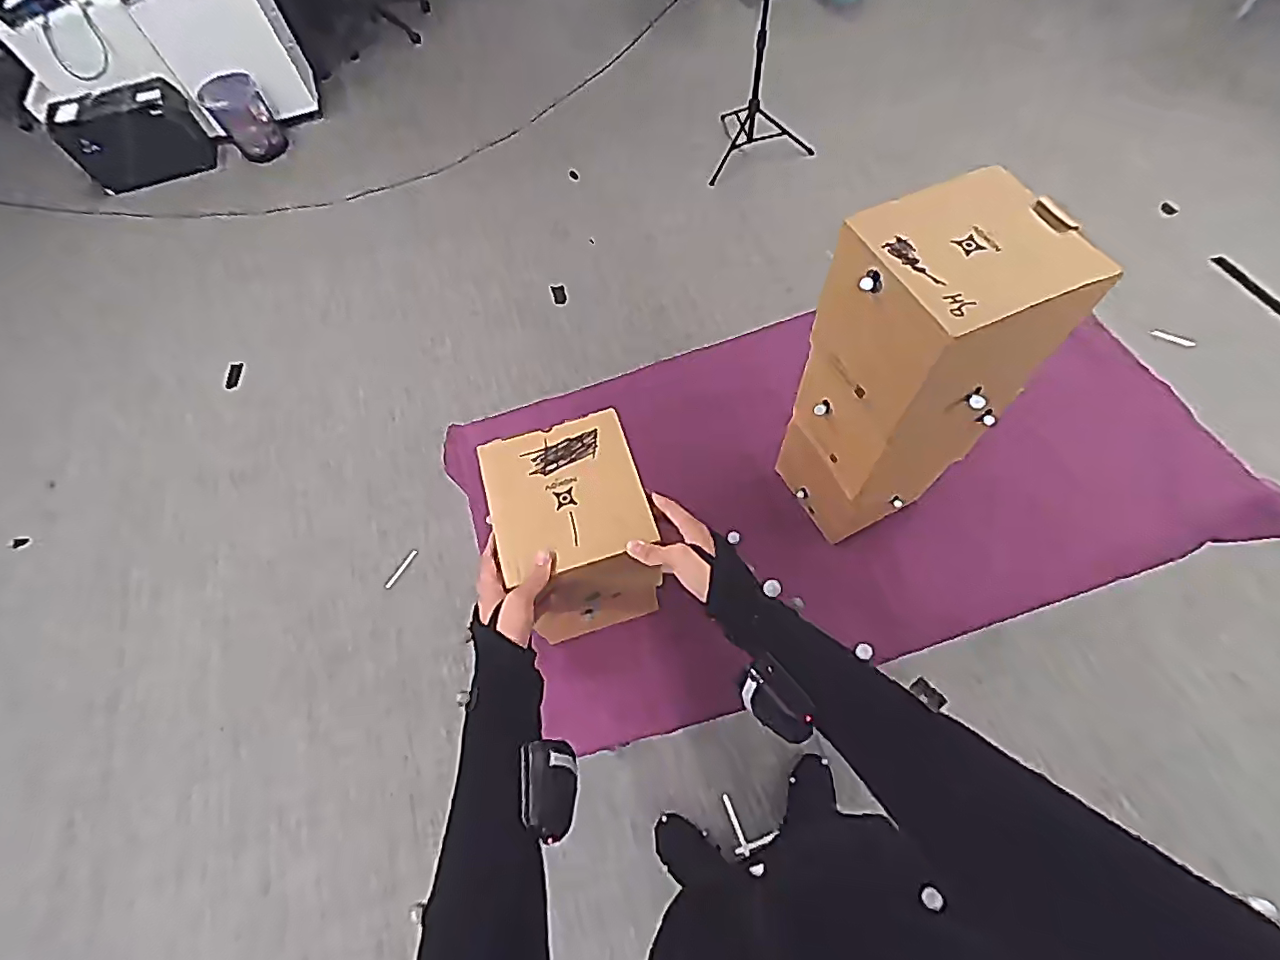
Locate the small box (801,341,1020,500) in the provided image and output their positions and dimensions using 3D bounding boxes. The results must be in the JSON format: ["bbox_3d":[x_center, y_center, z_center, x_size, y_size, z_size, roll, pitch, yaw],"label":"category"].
[{"bbox_3d":[0.327,-0.096,0.705,0.179,0.176,0.168,-21,63,-7],"label":"small box"}]

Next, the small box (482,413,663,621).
[{"bbox_3d":[-0.076,0.051,0.656,0.168,0.176,0.179,-17,64,-5],"label":"small box"}]

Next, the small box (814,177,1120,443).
[{"bbox_3d":[0.309,-0.167,0.558,0.179,0.176,0.168,-21,62,-7],"label":"small box"}]

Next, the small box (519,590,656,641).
[{"bbox_3d":[-0.082,0.125,0.803,0.179,0.176,0.168,-16,63,-5],"label":"small box"}]
